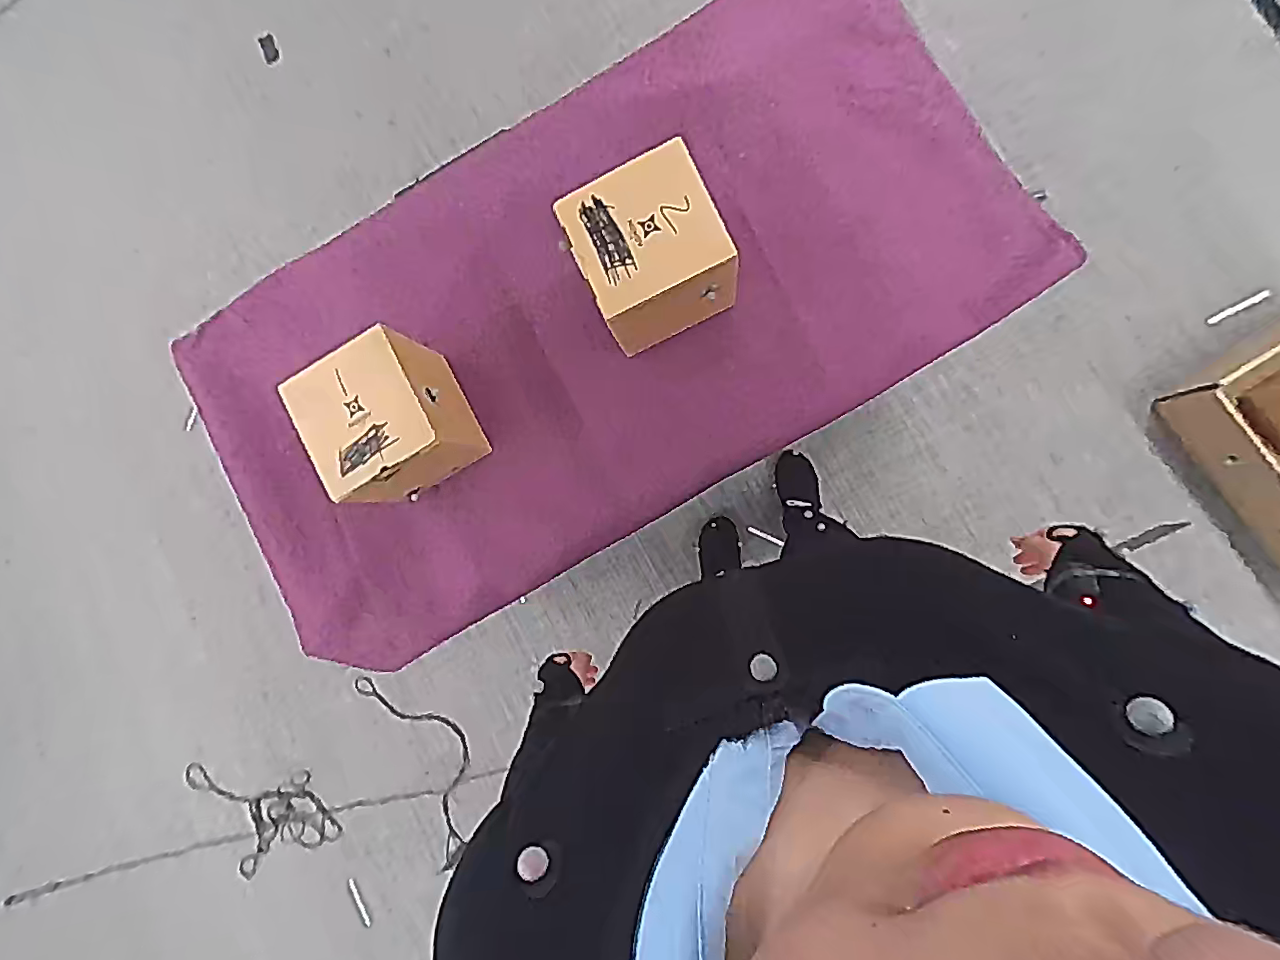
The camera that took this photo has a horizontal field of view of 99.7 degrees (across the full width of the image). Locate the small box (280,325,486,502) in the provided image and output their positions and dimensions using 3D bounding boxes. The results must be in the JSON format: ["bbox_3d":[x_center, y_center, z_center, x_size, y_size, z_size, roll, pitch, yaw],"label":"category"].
[{"bbox_3d":[-0.349,-0.084,0.768,0.168,0.176,0.179,-29,84,6],"label":"small box"}]

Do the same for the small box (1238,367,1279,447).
[{"bbox_3d":[1.515,-0.175,1.188,0.168,0.176,0.179,-35,85,5],"label":"small box"}]
